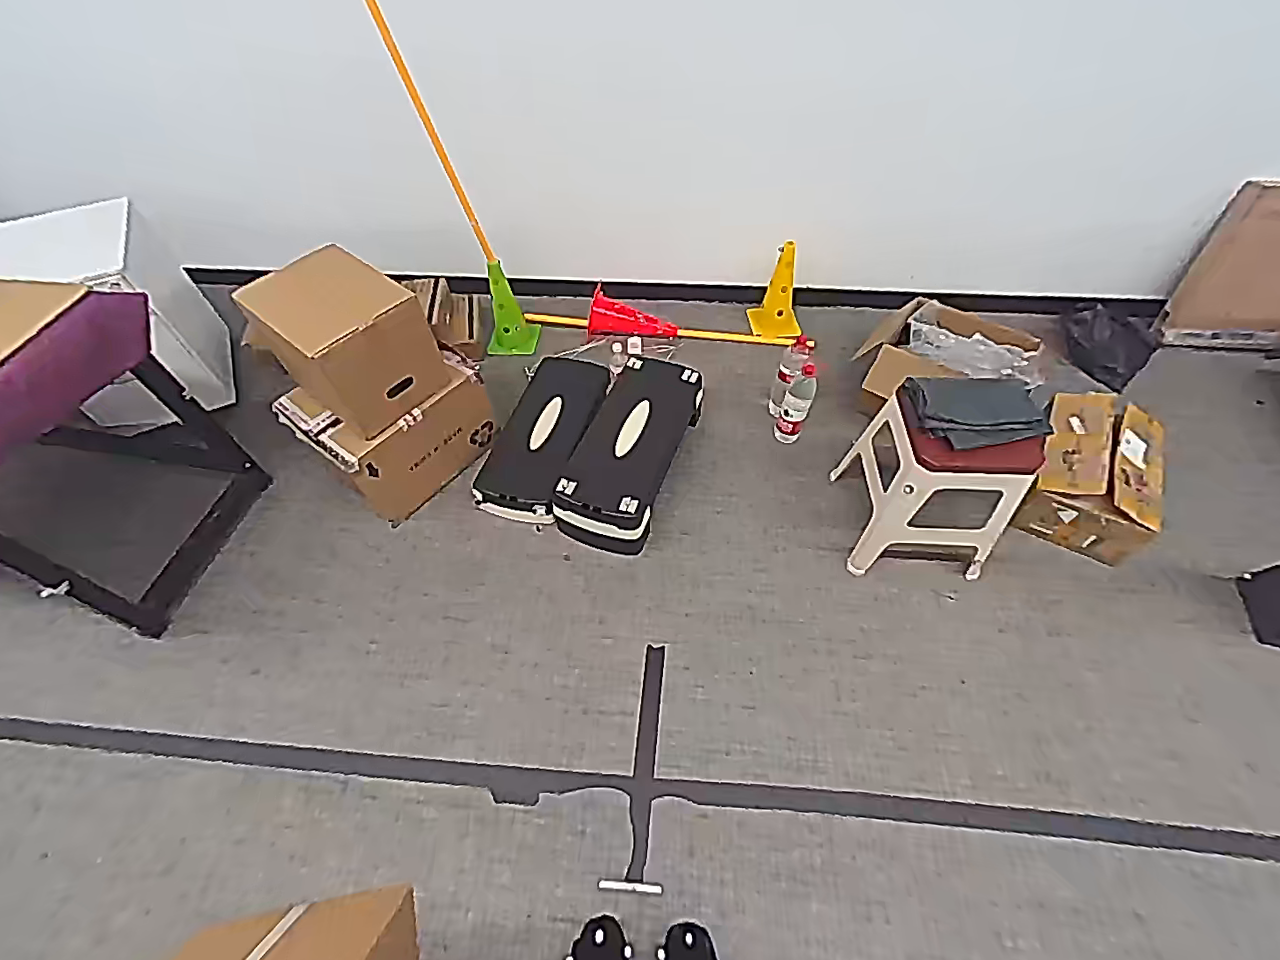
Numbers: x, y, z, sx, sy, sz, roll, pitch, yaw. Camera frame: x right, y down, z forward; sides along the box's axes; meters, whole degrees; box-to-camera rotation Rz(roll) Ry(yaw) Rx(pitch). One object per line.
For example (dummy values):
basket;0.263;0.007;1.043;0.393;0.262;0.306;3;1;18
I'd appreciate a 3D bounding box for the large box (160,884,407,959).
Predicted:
large box;-0.474;0.762;0.609;0.320;0.408;0.320;-9;81;-6
